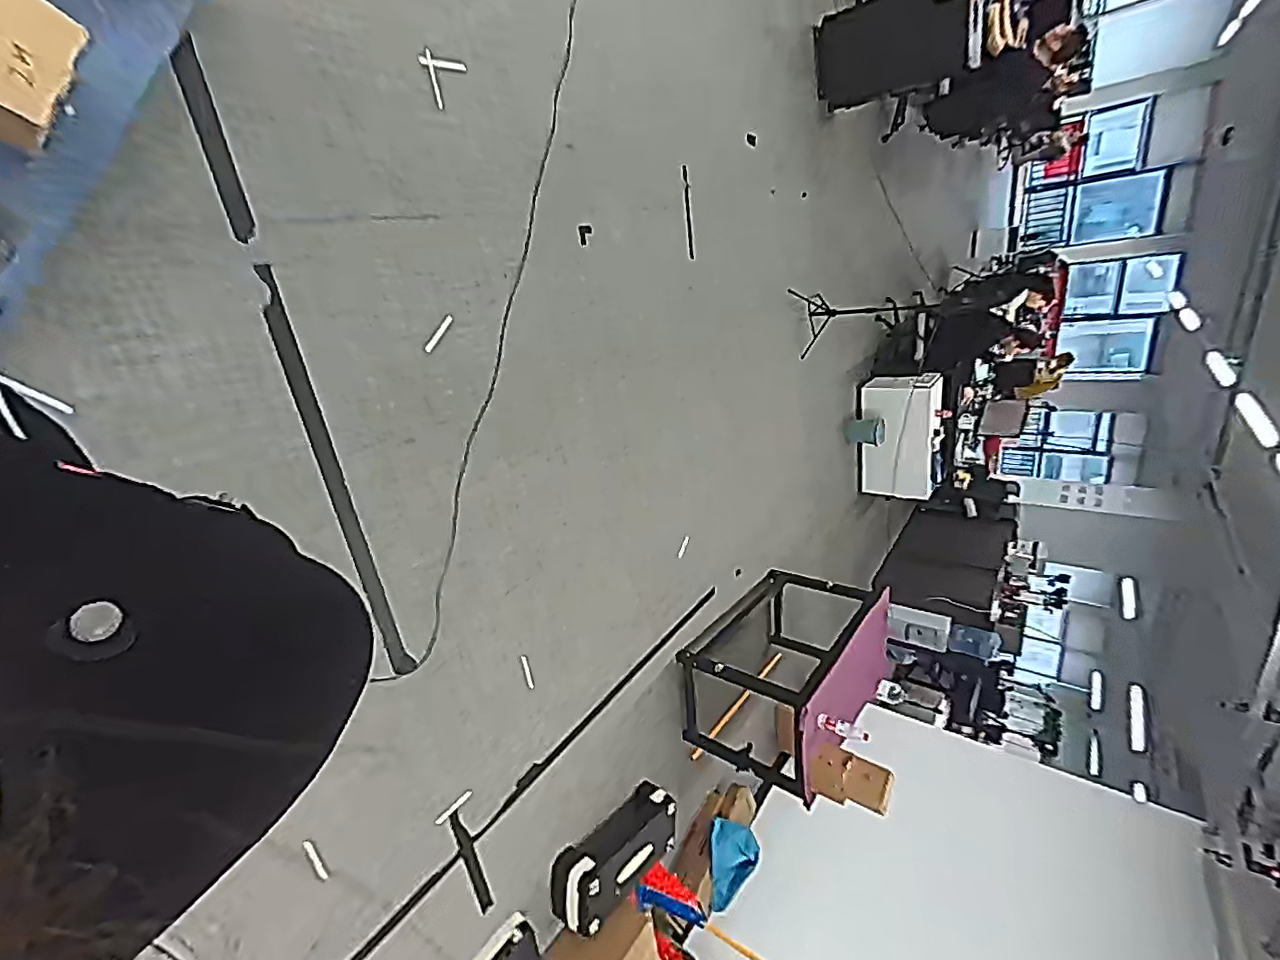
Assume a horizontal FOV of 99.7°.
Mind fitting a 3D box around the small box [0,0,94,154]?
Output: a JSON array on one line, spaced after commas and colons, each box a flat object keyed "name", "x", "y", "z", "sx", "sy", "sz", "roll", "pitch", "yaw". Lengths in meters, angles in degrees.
[{"name": "small box", "x": -0.925, "y": -0.599, "z": 0.756, "sx": 0.179, "sy": 0.176, "sz": 0.168, "roll": 26, "pitch": 76, "yaw": -51}]
